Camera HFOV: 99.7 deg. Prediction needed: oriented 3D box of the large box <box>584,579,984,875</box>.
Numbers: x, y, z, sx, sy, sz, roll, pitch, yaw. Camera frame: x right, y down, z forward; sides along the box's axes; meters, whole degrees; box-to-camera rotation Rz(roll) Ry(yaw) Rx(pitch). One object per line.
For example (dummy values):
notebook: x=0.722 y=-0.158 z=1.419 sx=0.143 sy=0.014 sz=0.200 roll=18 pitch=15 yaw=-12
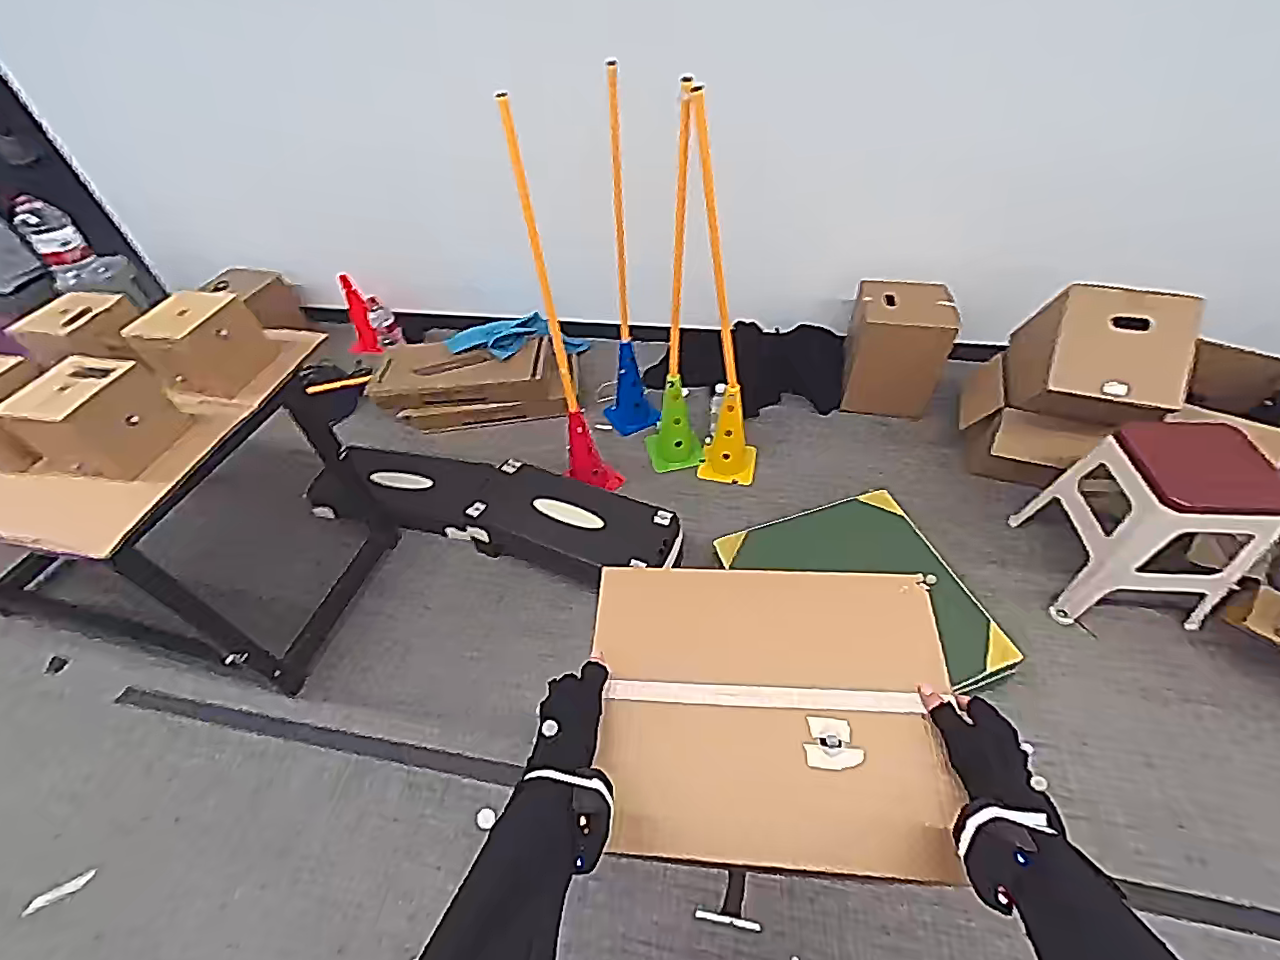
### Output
large box: x=0.155 y=0.344 z=0.745 sx=0.408 sy=0.320 sz=0.320 roll=0 pitch=55 yaw=6
